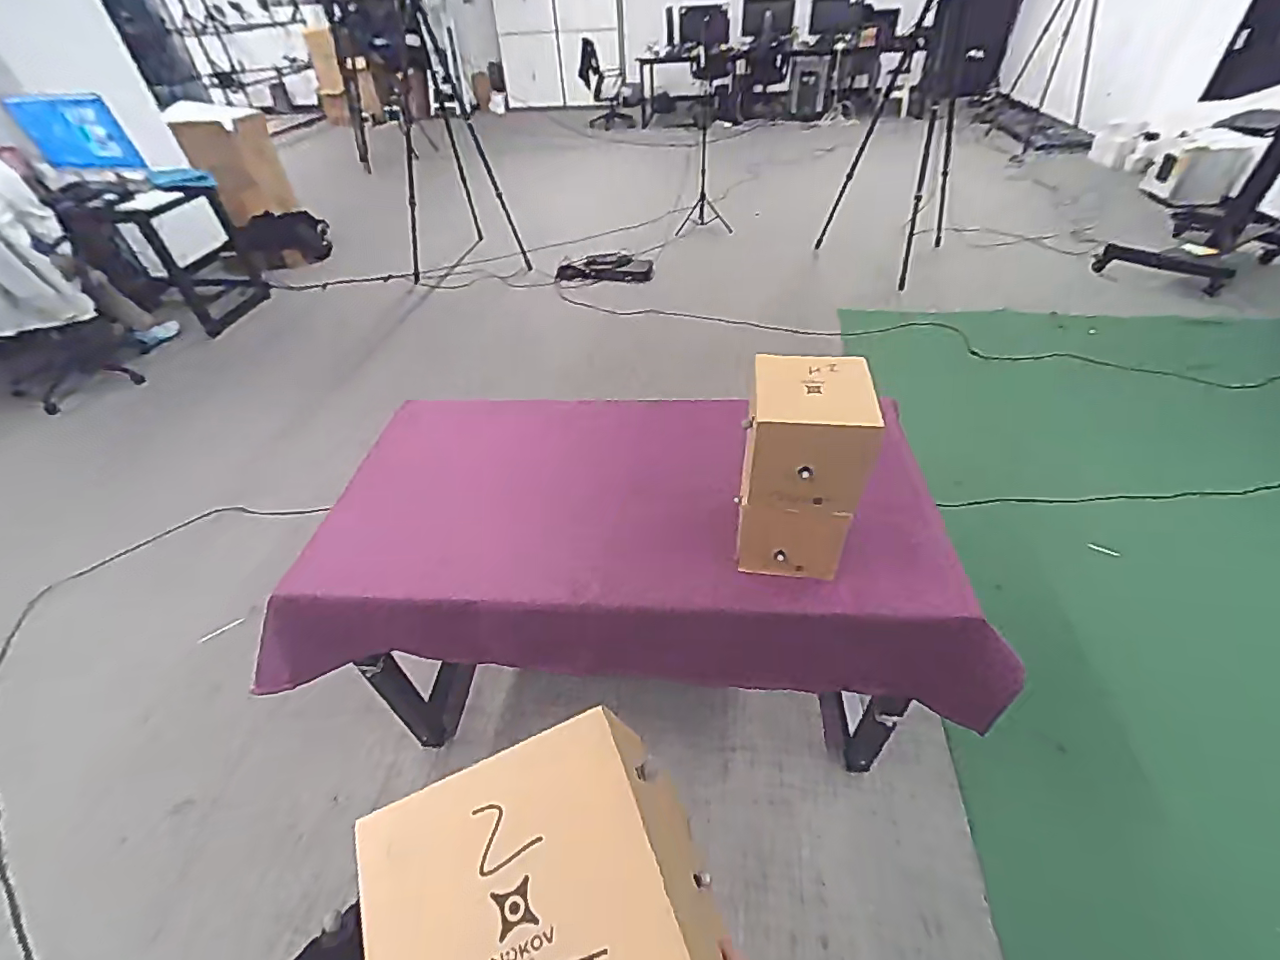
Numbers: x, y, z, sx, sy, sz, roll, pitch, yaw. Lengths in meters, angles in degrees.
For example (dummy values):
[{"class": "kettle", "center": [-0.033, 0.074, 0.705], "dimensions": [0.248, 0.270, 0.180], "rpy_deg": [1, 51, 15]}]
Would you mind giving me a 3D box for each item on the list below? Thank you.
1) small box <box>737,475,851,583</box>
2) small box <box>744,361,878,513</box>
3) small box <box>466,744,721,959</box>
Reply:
[{"class": "small box", "center": [0.260, 0.055, 0.951], "dimensions": [0.168, 0.176, 0.179], "rpy_deg": [4, 44, 9]}, {"class": "small box", "center": [0.253, -0.066, 0.839], "dimensions": [0.168, 0.176, 0.179], "rpy_deg": [4, 43, 8]}, {"class": "small box", "center": [-0.035, 0.370, 0.502], "dimensions": [0.179, 0.176, 0.168], "rpy_deg": [-21, 57, -3]}]
